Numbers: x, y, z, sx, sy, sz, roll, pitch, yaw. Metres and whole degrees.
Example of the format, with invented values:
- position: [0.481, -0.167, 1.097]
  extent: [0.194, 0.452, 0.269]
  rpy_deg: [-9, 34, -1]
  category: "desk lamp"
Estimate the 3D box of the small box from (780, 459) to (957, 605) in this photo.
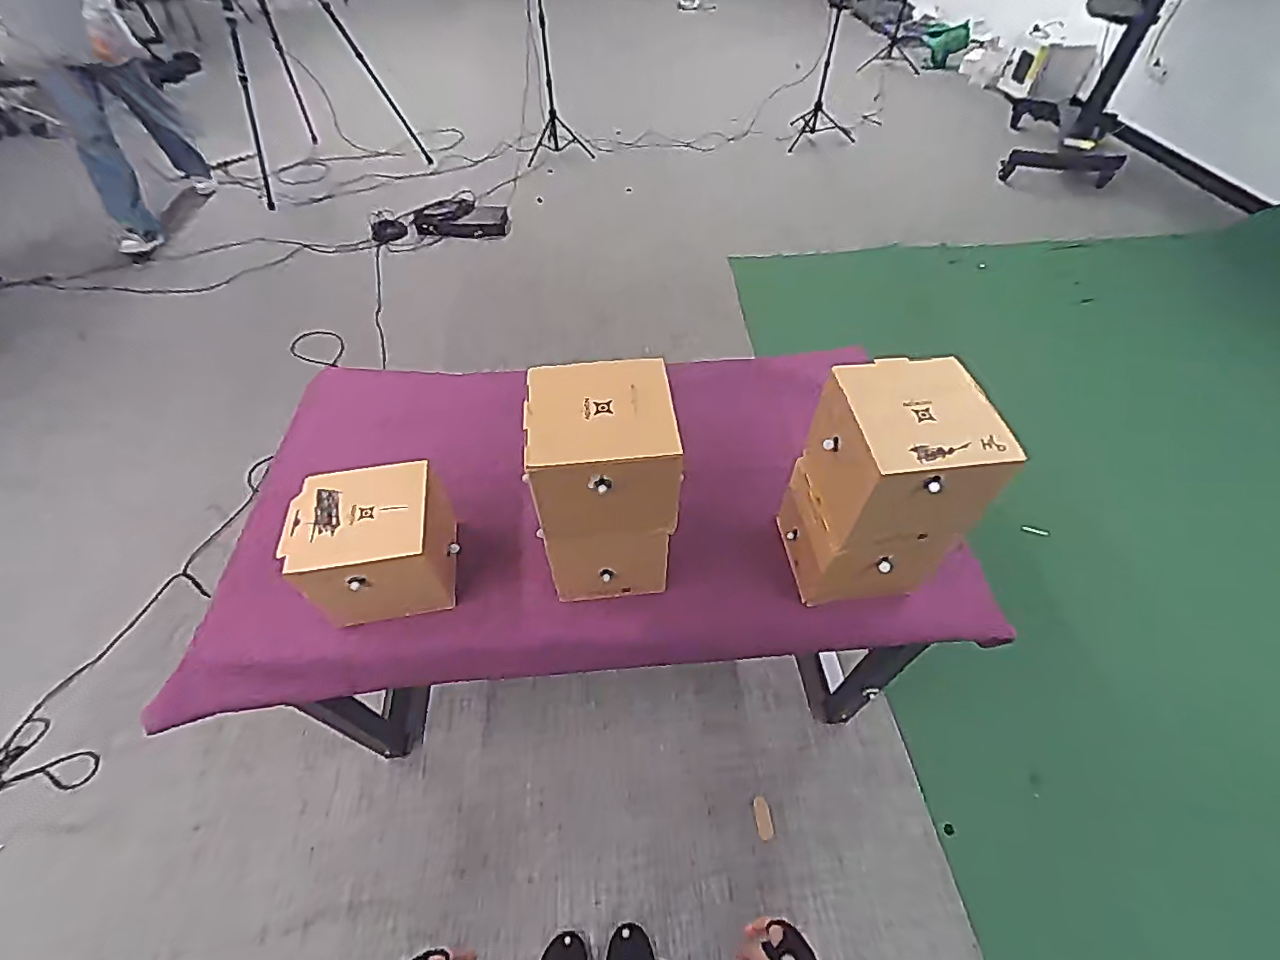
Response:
- position: [0.330, 0.074, 0.822]
  extent: [0.179, 0.176, 0.168]
  rpy_deg: [-7, 52, -2]
  category: "small box"

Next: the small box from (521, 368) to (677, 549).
- position: [-0.049, -0.023, 0.704]
  extent: [0.179, 0.176, 0.168]
  rpy_deg: [-5, 52, -3]
  category: "small box"

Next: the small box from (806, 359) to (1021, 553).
- position: [0.327, -0.029, 0.694]
  extent: [0.168, 0.176, 0.179]
  rpy_deg: [-7, 51, -1]
  category: "small box"

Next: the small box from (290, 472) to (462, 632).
- position: [-0.382, 0.113, 0.817]
  extent: [0.179, 0.176, 0.168]
  rpy_deg: [-9, 52, -7]
  category: "small box"

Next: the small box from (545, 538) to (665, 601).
- position: [-0.050, 0.075, 0.834]
  extent: [0.168, 0.176, 0.179]
  rpy_deg: [-5, 50, -3]
  category: "small box"
